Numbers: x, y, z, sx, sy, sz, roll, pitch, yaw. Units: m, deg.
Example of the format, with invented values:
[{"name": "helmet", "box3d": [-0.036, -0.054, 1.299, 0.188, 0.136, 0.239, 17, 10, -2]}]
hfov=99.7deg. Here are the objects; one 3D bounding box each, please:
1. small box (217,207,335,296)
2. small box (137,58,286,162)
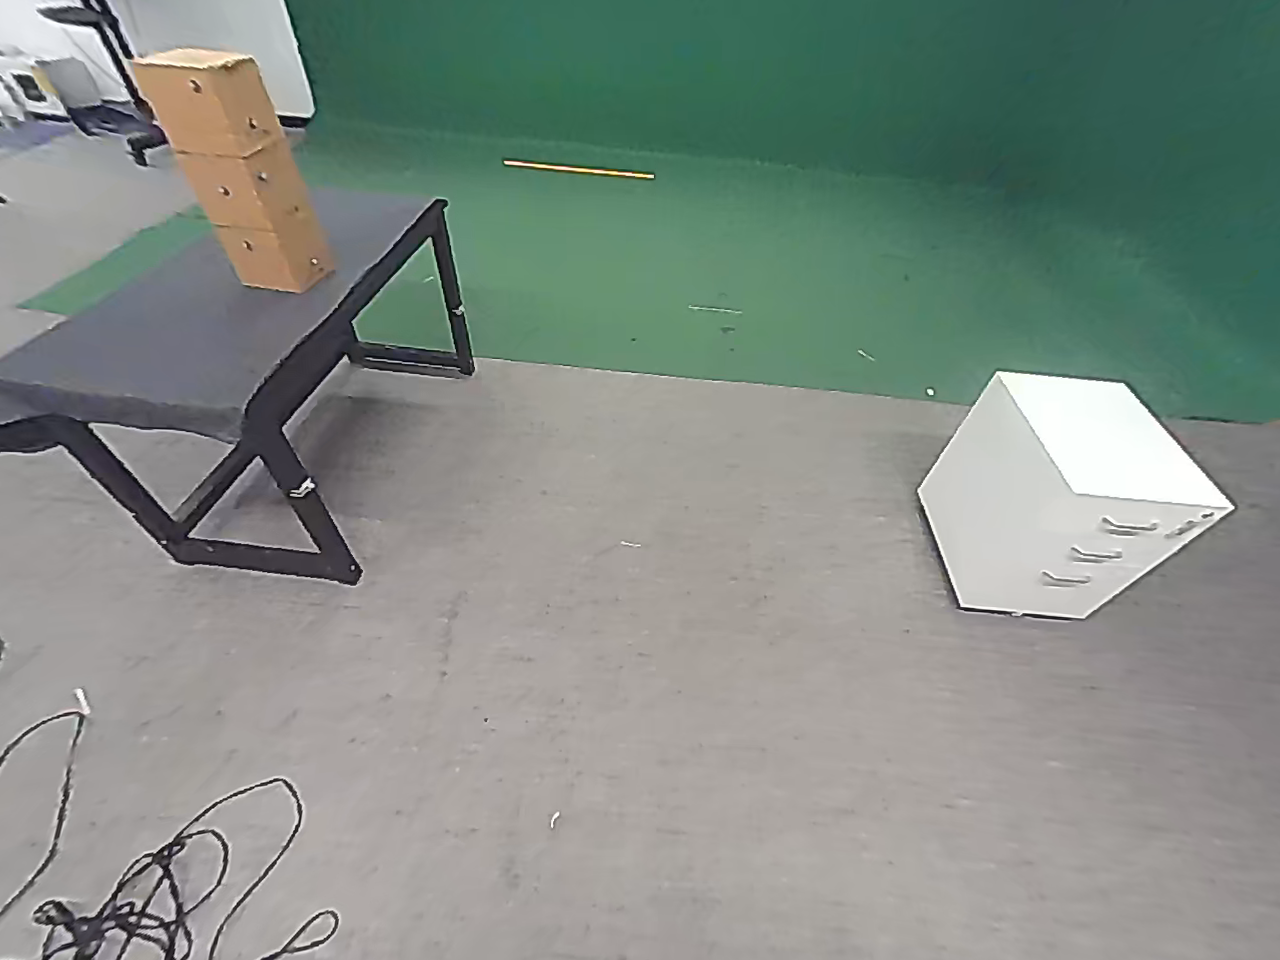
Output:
[{"name": "small box", "box3d": [-0.982, -0.622, 1.477, 0.179, 0.176, 0.168, 10, 46, 5]}, {"name": "small box", "box3d": [-0.968, -0.848, 1.241, 0.179, 0.176, 0.168, 6, 46, 3]}]
